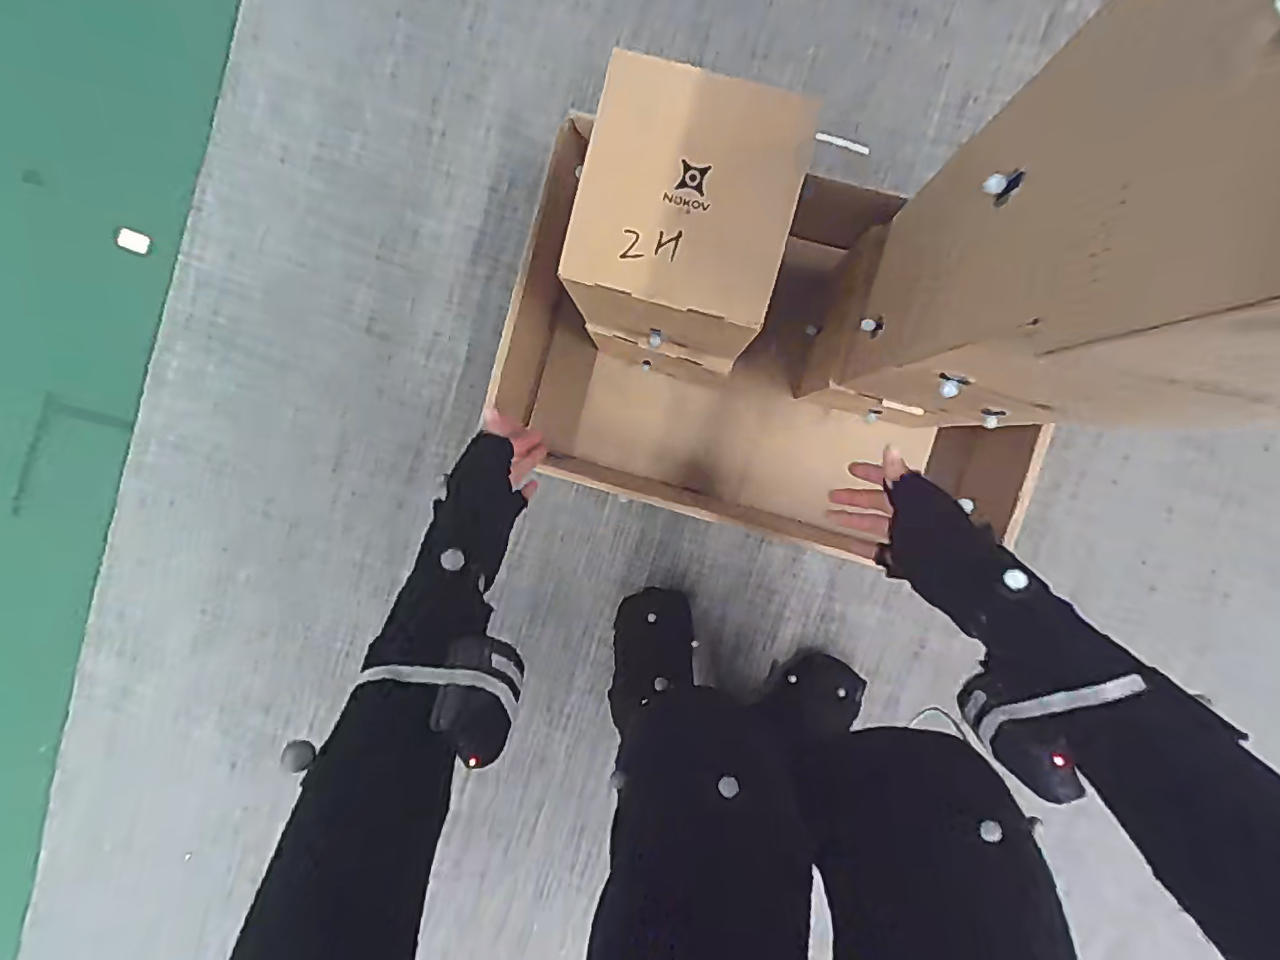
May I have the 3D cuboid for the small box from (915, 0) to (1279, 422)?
[{"bbox_3d":[0.290,-0.137,0.313,0.168,0.176,0.179,17,95,2],"label":"small box"}]

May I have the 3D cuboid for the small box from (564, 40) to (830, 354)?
[{"bbox_3d":[0.043,-0.227,0.484,0.168,0.176,0.179,15,95,1],"label":"small box"}]

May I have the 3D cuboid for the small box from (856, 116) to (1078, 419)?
[{"bbox_3d":[0.304,-0.155,0.459,0.168,0.176,0.179,16,95,3],"label":"small box"}]

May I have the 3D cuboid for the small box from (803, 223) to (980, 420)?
[{"bbox_3d":[0.303,-0.171,0.640,0.168,0.176,0.179,12,95,4],"label":"small box"}]
